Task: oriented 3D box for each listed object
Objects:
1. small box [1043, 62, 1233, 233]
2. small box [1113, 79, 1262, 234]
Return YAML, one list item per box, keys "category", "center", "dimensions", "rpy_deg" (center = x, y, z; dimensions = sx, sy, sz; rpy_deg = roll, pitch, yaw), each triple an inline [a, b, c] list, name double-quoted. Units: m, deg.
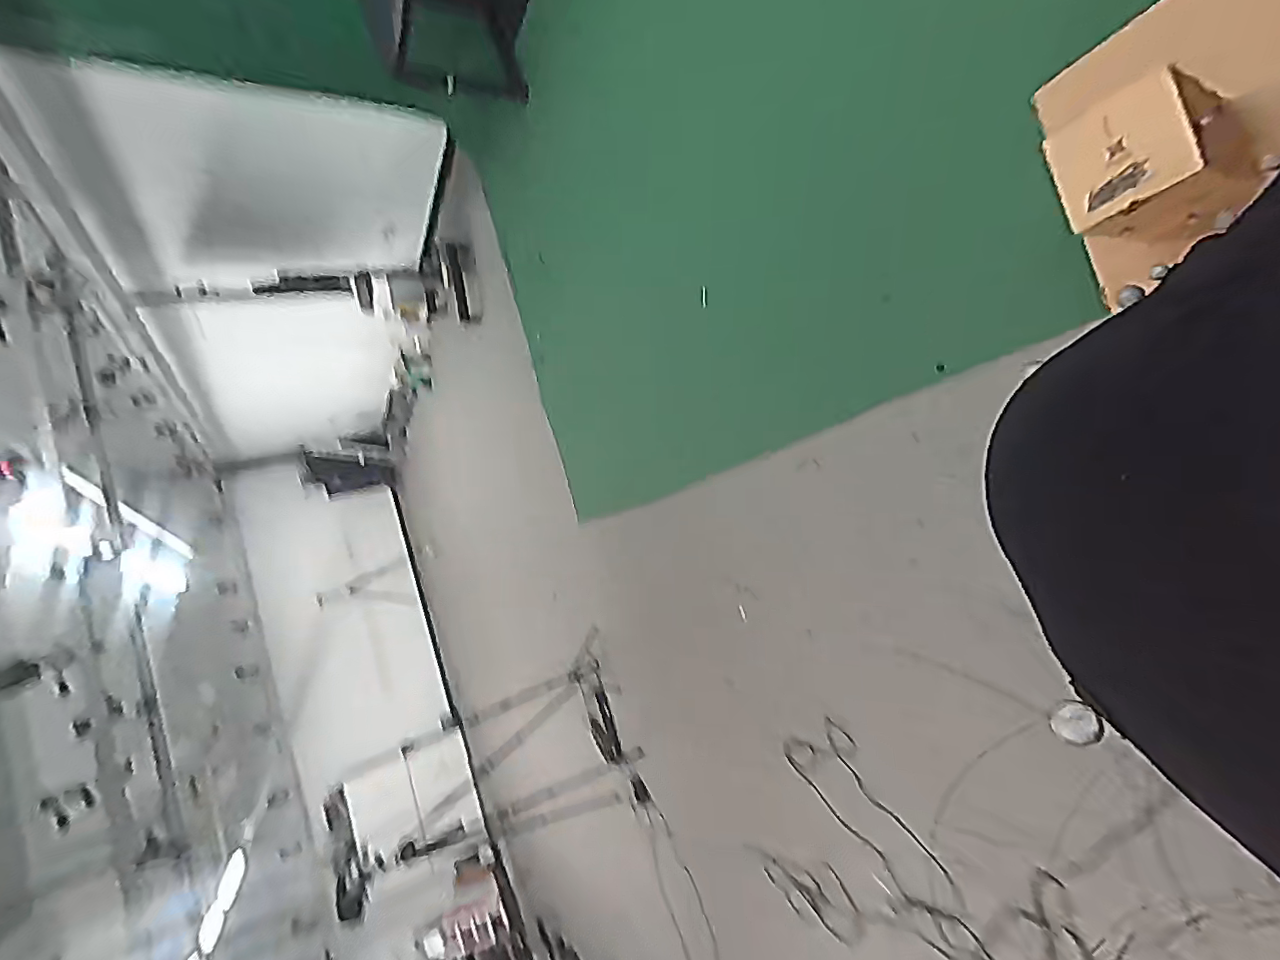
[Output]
- category: "small box"
  center: [0.819, -0.534, 0.891]
  dimensions: [0.168, 0.176, 0.179]
  rpy_deg: [-23, 81, 59]
- category: "small box"
  center: [0.957, -0.566, 0.974]
  dimensions: [0.168, 0.176, 0.179]
  rpy_deg: [-26, 79, 59]
